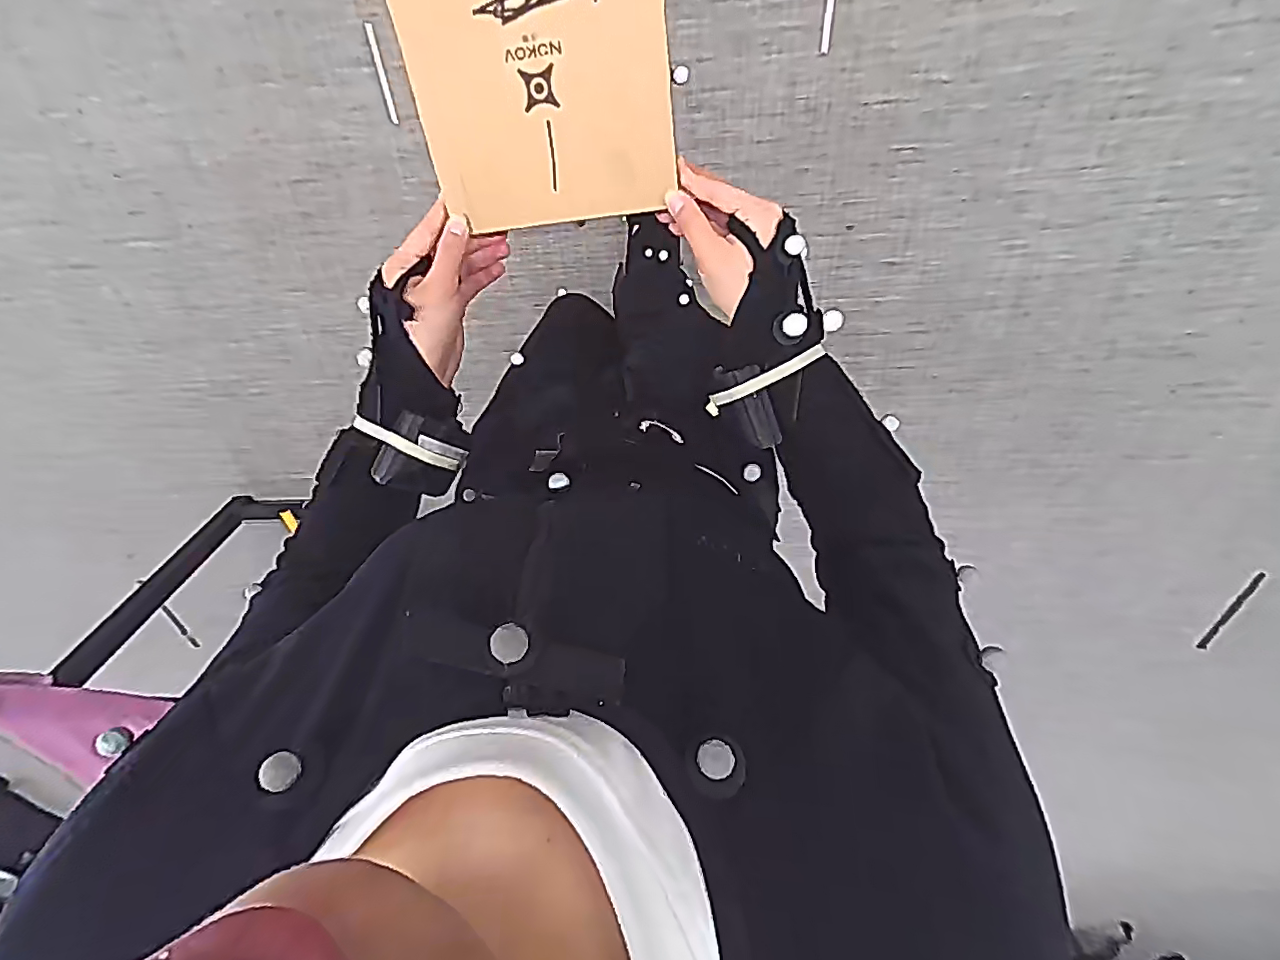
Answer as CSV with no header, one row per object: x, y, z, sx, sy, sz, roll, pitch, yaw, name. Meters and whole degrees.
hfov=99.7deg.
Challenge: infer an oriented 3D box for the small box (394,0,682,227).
-0.059,-0.298,0.398,0.168,0.176,0.179,-5,122,4,small box
